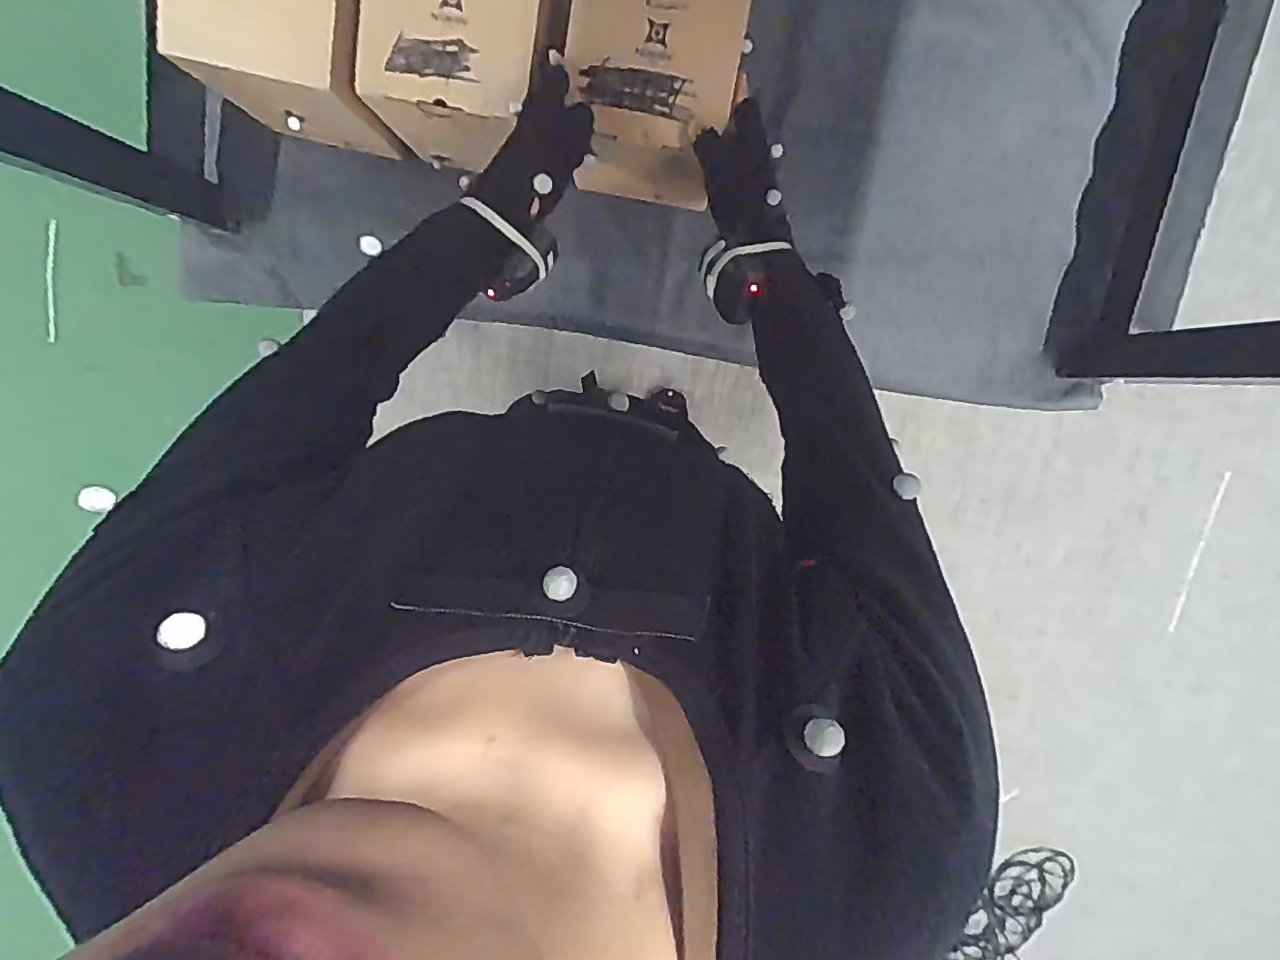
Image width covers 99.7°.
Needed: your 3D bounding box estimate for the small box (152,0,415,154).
[{"bbox_3d":[-0.356,-0.479,0.569,0.168,0.176,0.179,12,100,-3],"label":"small box"}]
